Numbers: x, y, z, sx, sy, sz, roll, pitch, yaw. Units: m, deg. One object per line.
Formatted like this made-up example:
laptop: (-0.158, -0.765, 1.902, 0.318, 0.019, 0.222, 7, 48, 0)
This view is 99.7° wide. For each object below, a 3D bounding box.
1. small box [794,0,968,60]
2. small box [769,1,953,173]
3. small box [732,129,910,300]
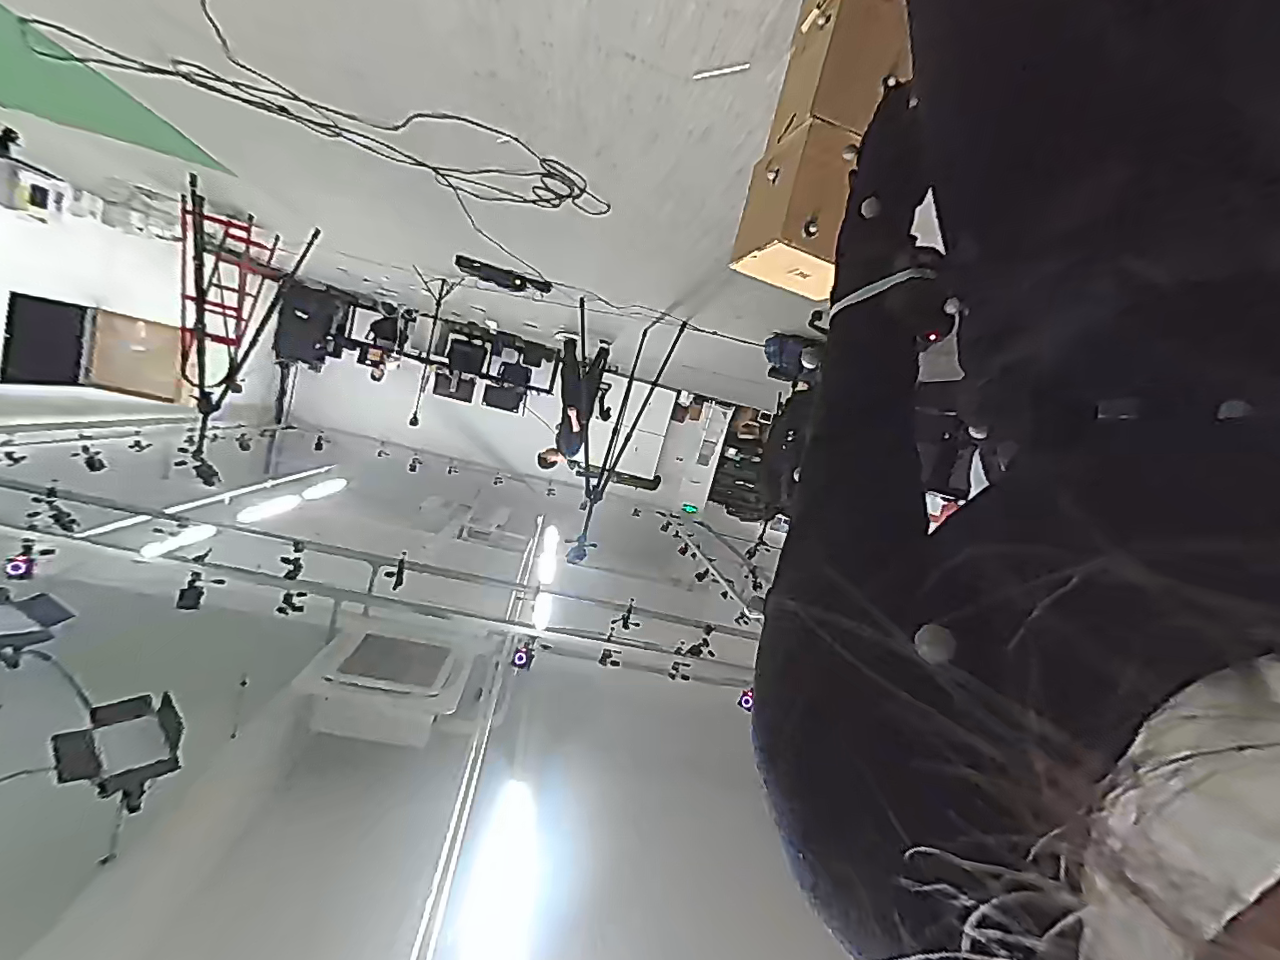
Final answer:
small box: (0.356, -0.709, 0.778, 0.179, 0.176, 0.168, 16, -171, -9)
small box: (0.317, -0.548, 0.801, 0.179, 0.176, 0.168, 13, -174, -12)
small box: (0.272, -0.394, 0.826, 0.179, 0.176, 0.168, 14, -174, -17)
